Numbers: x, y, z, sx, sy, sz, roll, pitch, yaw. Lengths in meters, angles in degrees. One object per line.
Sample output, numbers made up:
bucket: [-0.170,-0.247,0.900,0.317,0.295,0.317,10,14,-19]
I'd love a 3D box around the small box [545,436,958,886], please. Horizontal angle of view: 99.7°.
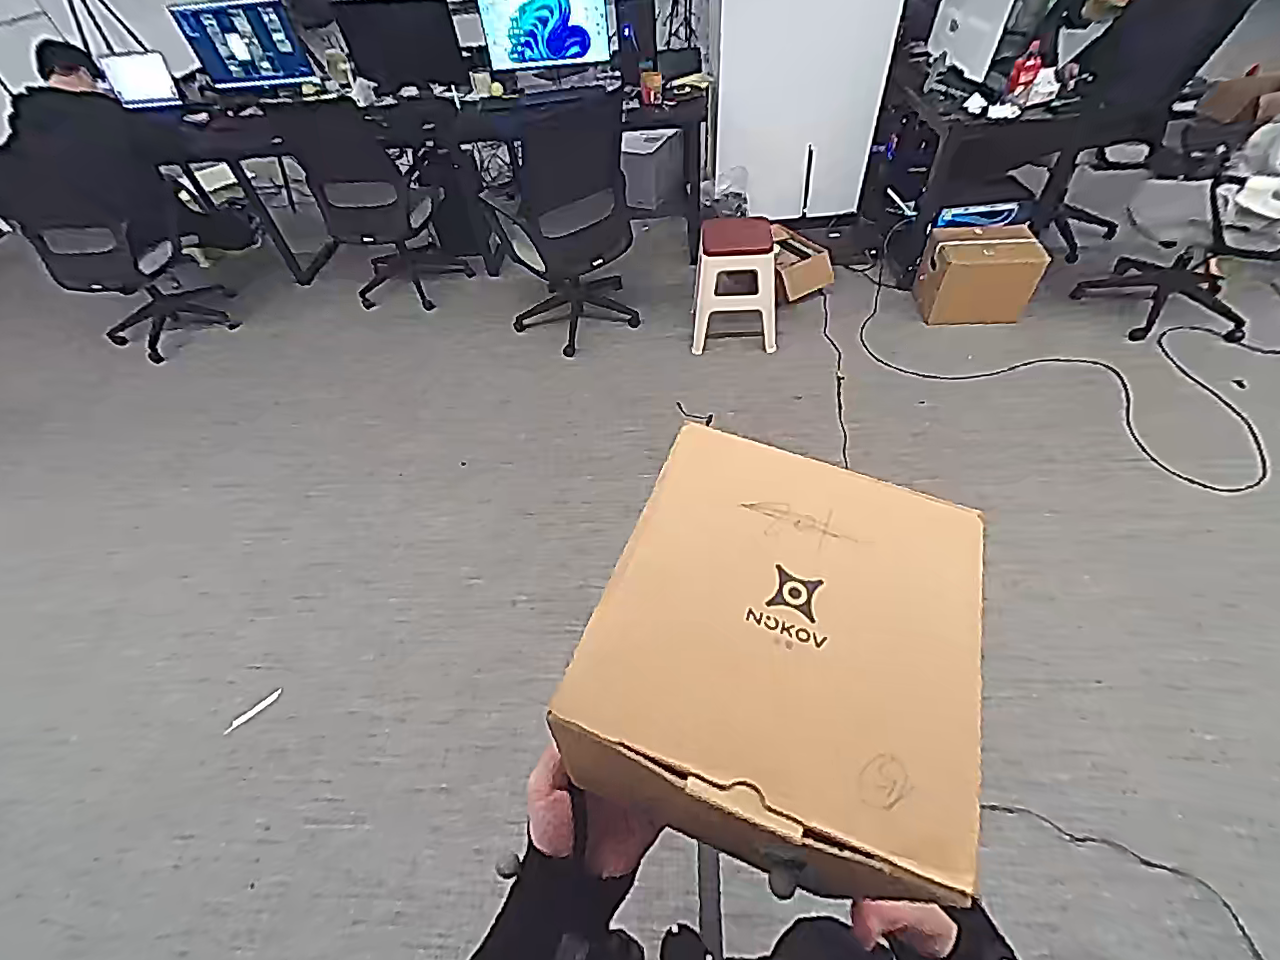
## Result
small box: [0.062,0.110,0.325,0.168,0.176,0.179,19,54,10]
